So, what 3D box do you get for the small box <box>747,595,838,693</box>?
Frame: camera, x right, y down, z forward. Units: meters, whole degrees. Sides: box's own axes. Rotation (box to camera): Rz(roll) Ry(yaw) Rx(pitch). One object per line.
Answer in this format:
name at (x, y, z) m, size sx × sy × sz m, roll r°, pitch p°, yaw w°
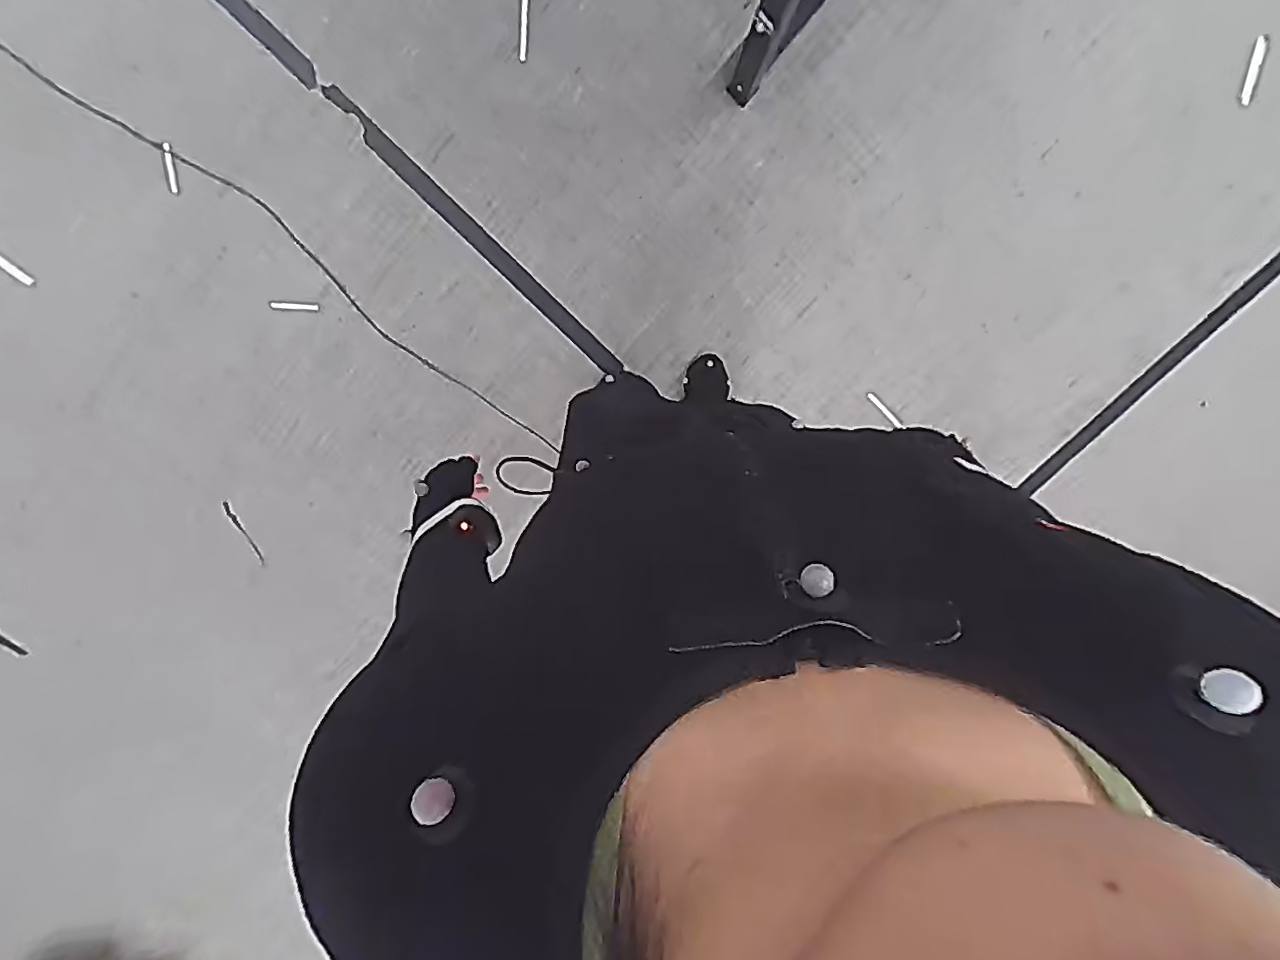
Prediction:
small box at (0.427, 0.458, 1.537) m, size 0.179 × 0.176 × 0.168 m, roll -29°, pitch 104°, yaw 10°
